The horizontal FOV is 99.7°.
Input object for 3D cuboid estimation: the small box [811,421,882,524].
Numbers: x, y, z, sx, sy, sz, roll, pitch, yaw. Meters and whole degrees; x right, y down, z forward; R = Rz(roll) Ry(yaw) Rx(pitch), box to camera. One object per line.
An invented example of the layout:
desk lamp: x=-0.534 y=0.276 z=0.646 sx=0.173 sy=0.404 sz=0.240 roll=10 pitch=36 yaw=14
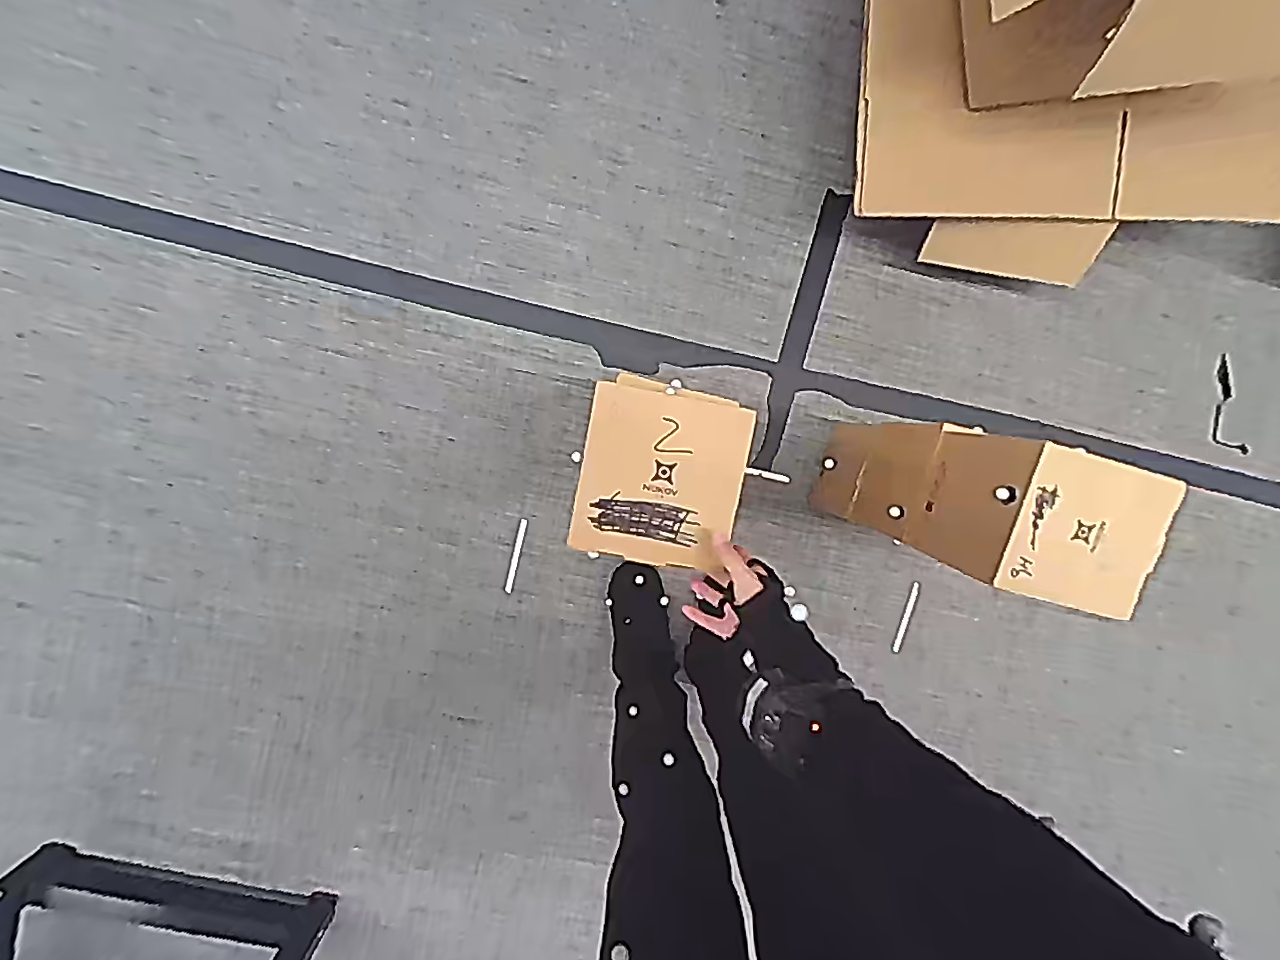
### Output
small box: x=0.442 y=-0.007 z=0.980 sx=0.179 sy=0.176 sz=0.168 roll=18 pitch=97 yaw=-7

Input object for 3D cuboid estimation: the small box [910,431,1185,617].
small box: x=0.476 y=0.042 z=0.659 sx=0.179 sy=0.176 sz=0.168 roll=15 pitch=98 yaw=-7

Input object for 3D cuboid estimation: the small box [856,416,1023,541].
small box: x=0.456 y=0.005 z=0.818 sx=0.168 sy=0.176 sz=0.179 roll=13 pitch=98 yaw=-6

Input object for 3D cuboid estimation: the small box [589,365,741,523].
small box: x=0.029 y=-0.054 z=0.782 sx=0.168 sy=0.176 sz=0.179 roll=14 pitch=96 yaw=-5

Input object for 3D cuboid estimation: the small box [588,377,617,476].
small box: x=0.013 y=-0.080 z=0.944 sx=0.179 sy=0.176 sz=0.168 roll=11 pitch=97 yaw=-4
